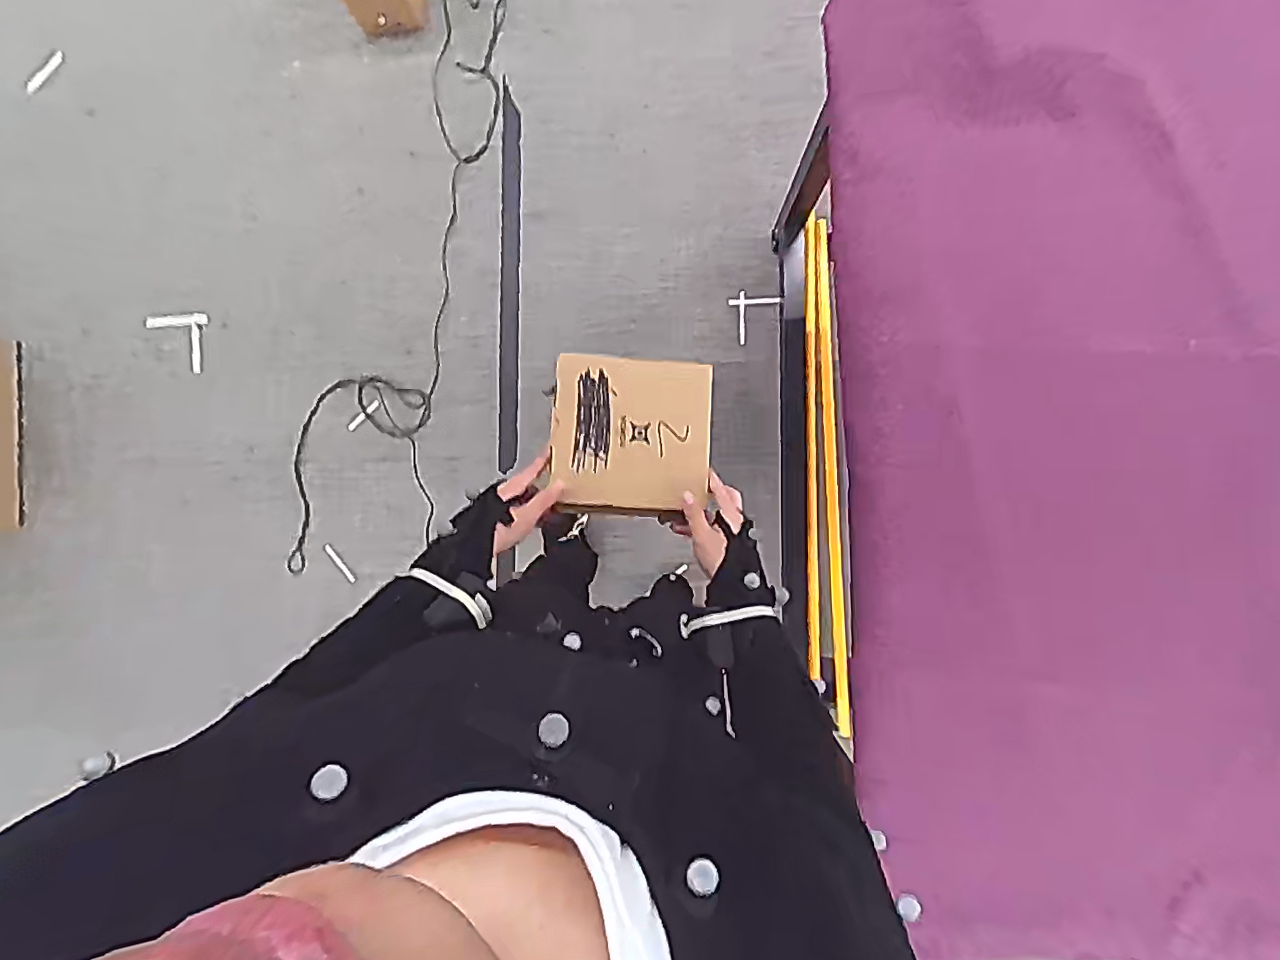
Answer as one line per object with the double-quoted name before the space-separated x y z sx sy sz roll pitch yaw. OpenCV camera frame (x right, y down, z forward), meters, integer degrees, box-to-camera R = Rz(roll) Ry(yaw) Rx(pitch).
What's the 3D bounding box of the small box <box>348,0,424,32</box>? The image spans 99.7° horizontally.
"small box" -0.650 -1.268 1.343 0.168 0.176 0.179 0 90 3
